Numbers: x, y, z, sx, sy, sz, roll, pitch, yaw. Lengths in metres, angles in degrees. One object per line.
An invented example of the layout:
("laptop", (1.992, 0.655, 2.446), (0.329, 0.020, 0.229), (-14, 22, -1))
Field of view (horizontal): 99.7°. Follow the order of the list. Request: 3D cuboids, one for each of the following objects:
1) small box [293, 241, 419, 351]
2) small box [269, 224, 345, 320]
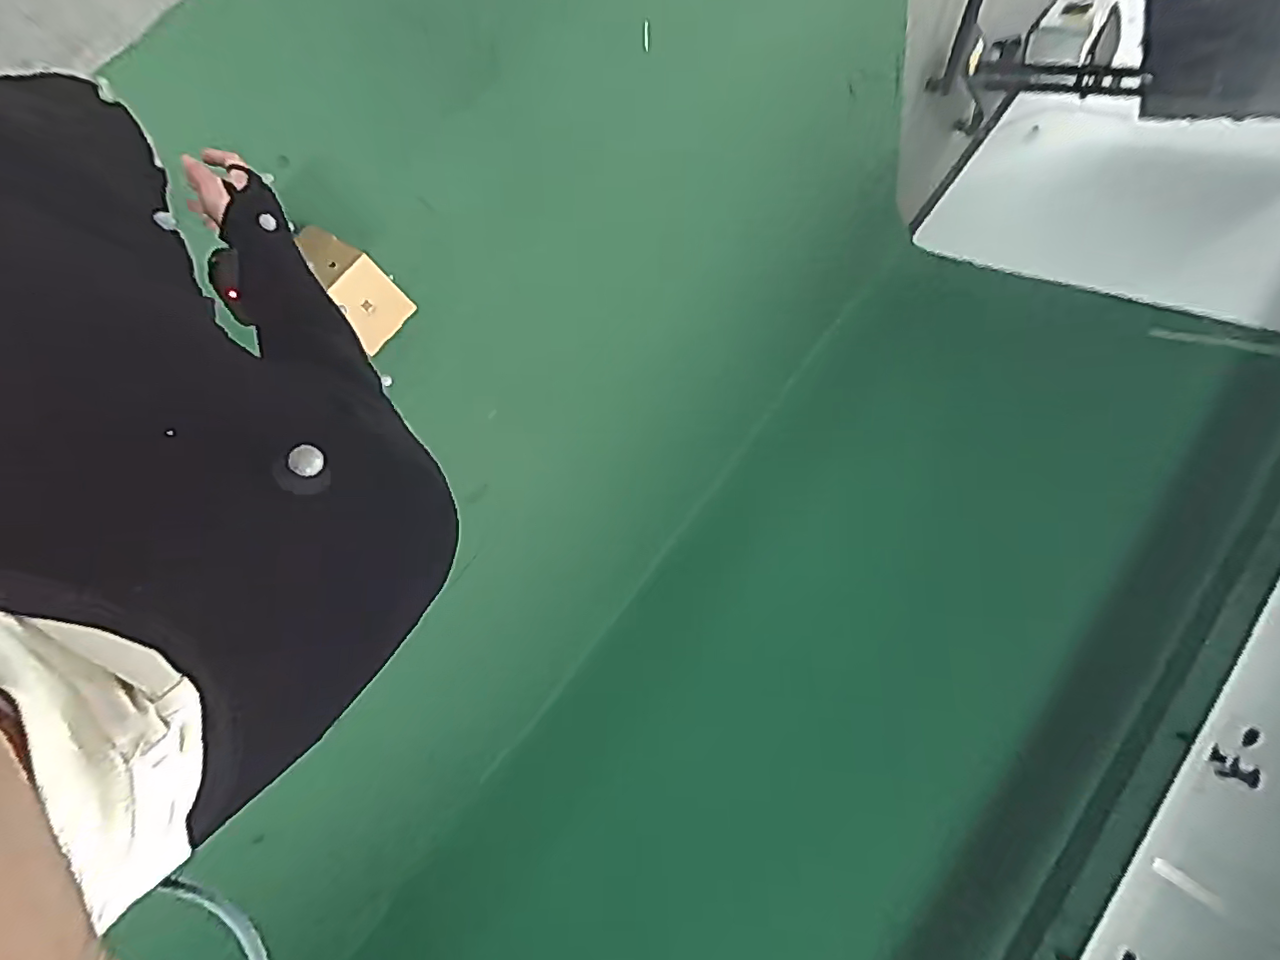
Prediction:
("small box", (-0.678, -0.445, 1.291), (0.168, 0.176, 0.179), (-52, 148, -9))
("small box", (-0.792, -0.520, 1.378), (0.168, 0.176, 0.179), (-52, 146, -9))
